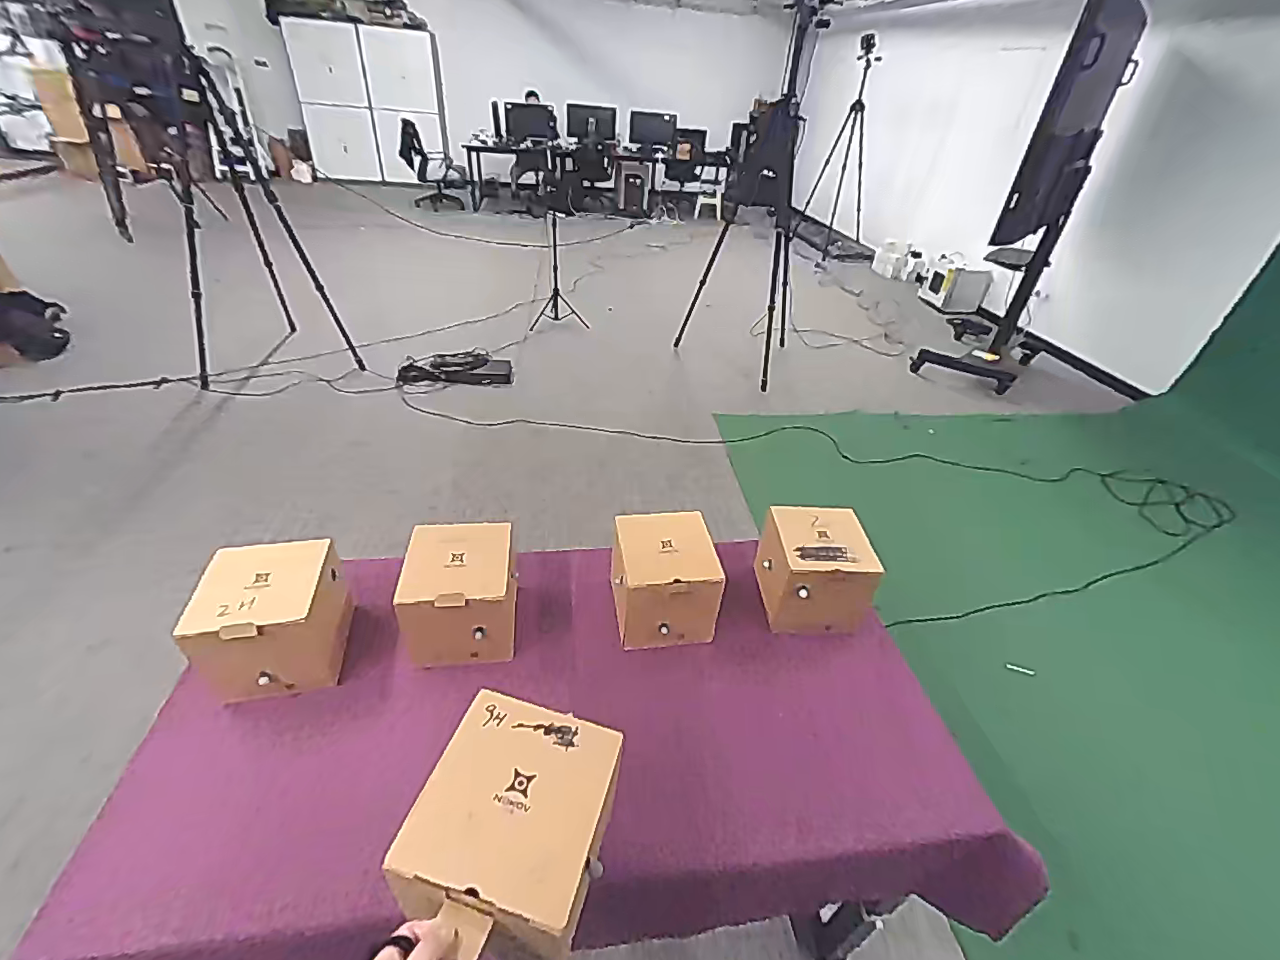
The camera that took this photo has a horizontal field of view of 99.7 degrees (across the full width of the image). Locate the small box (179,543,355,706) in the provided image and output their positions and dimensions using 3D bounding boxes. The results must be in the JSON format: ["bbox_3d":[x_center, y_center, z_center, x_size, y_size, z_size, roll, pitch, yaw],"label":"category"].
[{"bbox_3d":[-0.572,0.226,0.862,0.168,0.176,0.179,-5,38,-13],"label":"small box"}]

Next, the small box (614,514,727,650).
[{"bbox_3d":[0.044,0.183,0.988,0.168,0.176,0.179,-3,38,-10],"label":"small box"}]

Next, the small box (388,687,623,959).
[{"bbox_3d":[-0.123,0.357,0.561,0.168,0.176,0.179,14,38,8],"label":"small box"}]

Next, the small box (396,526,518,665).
[{"bbox_3d":[-0.299,0.200,0.928,0.168,0.176,0.179,-1,36,-9],"label":"small box"}]
